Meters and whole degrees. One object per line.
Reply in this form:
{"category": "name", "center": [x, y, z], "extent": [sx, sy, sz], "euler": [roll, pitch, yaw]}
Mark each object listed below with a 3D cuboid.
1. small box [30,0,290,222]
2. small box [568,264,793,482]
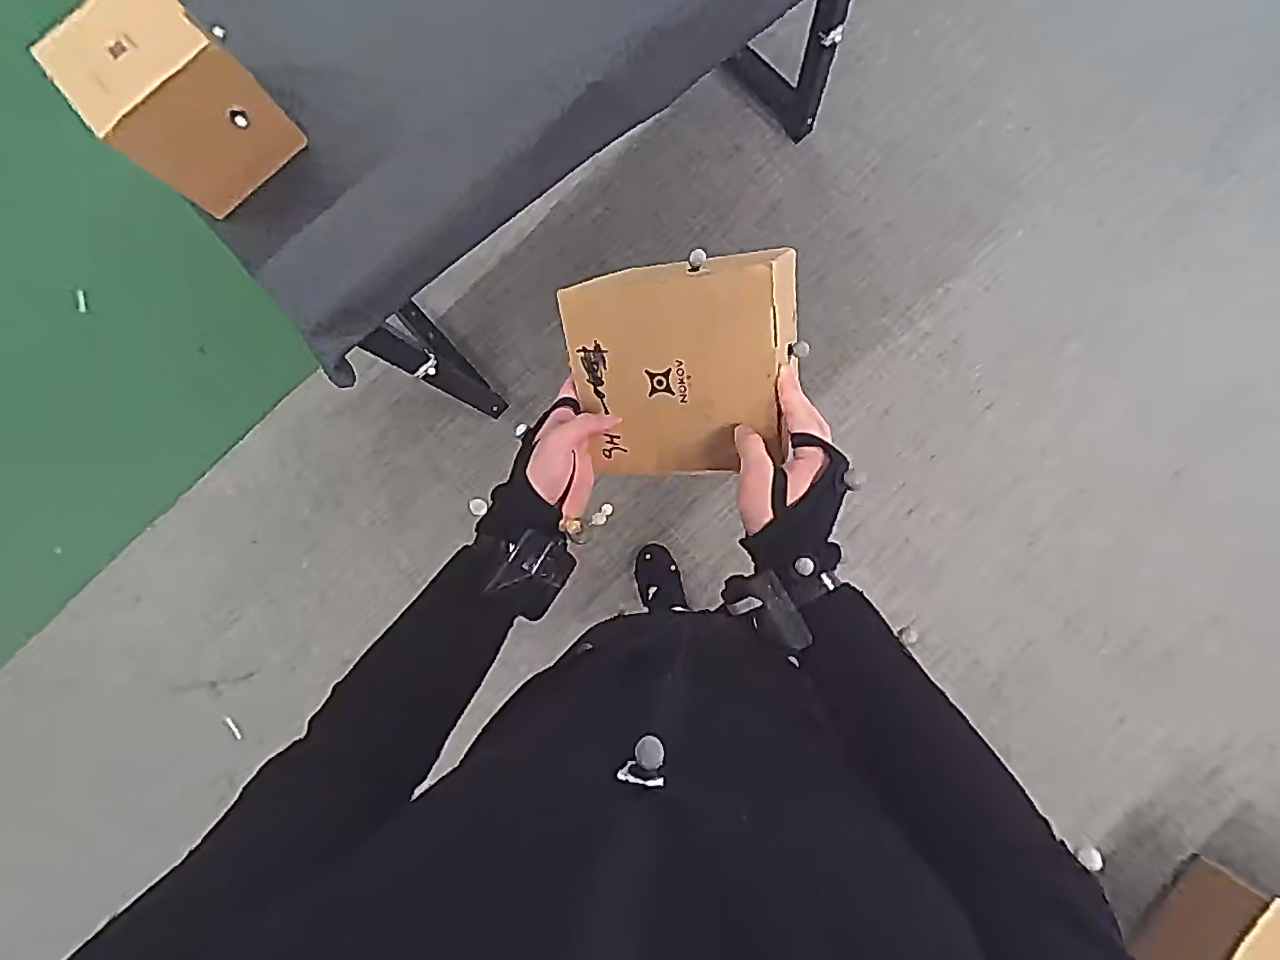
{"category": "small box", "center": [-0.610, -0.492, 0.717], "extent": [0.179, 0.176, 0.168], "euler": [-39, 80, 0]}
{"category": "small box", "center": [0.055, -0.107, 0.519], "extent": [0.179, 0.176, 0.168], "euler": [0, 114, 19]}
